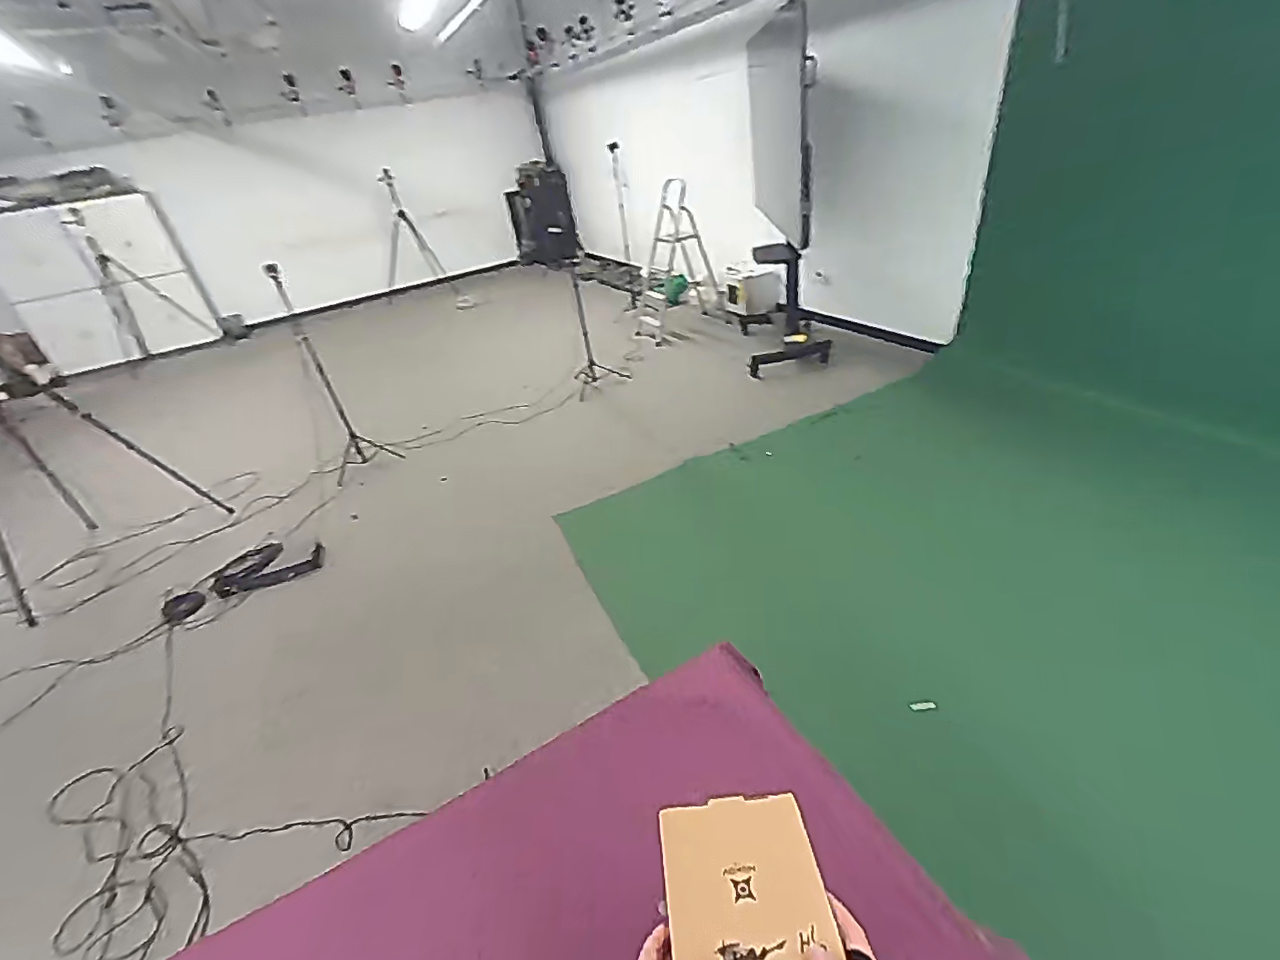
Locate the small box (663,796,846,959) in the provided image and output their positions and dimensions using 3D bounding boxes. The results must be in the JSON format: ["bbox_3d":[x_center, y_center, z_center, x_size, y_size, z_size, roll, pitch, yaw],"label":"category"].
[{"bbox_3d":[0.118,0.495,0.606,0.168,0.176,0.179,-7,27,1],"label":"small box"}]
